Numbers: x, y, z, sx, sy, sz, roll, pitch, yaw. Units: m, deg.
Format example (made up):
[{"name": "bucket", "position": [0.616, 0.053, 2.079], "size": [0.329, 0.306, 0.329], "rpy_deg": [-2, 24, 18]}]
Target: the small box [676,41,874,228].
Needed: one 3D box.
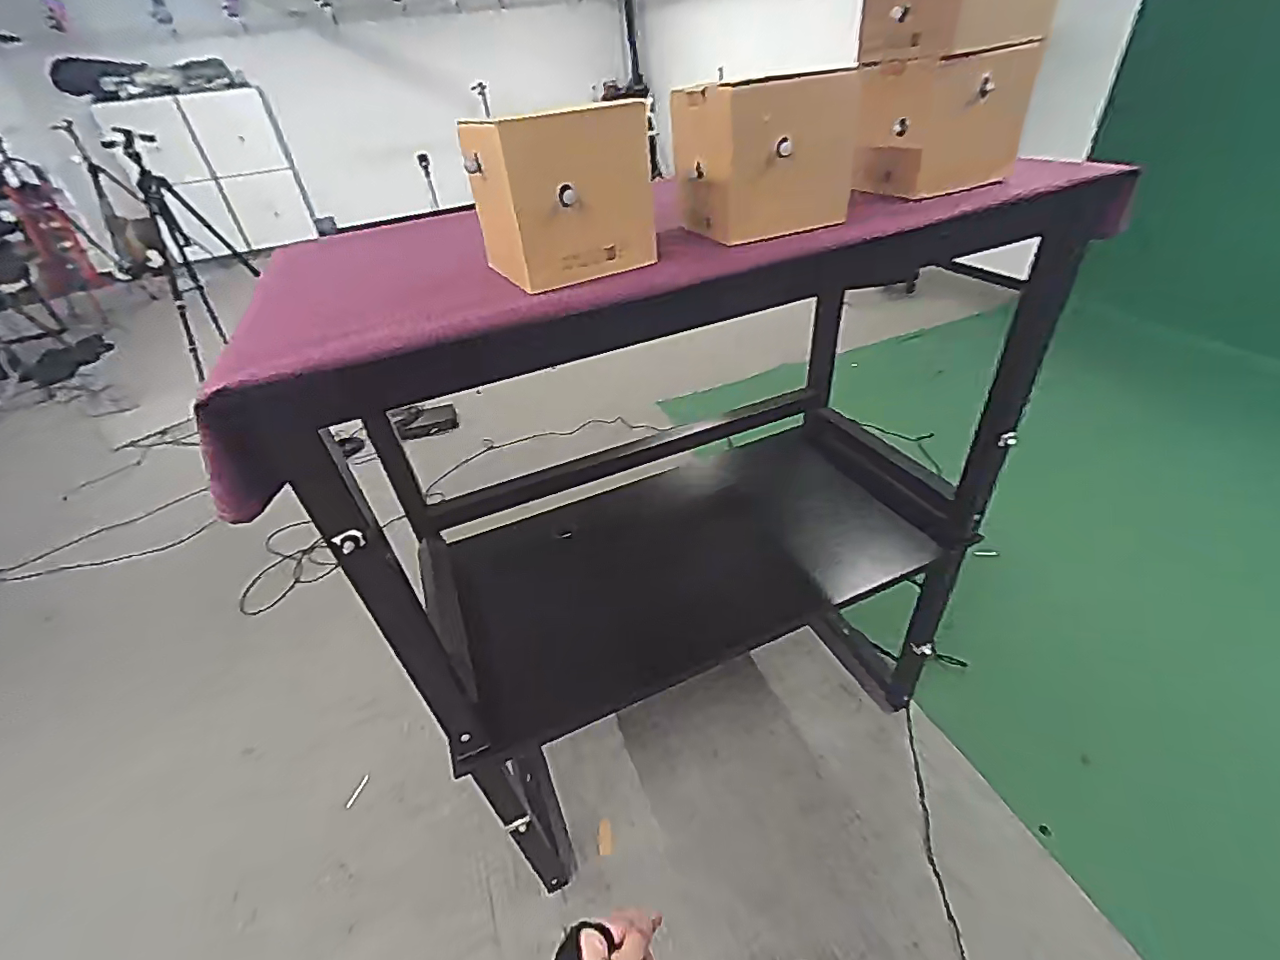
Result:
[{"name": "small box", "position": [0.160, -0.430, 0.680], "size": [0.179, 0.176, 0.168], "rpy_deg": [-17, 40, -12]}]

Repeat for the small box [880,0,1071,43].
[{"name": "small box", "position": [0.426, -0.652, 0.664], "size": [0.179, 0.176, 0.168], "rpy_deg": [-21, 40, -15]}]

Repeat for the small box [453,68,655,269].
[{"name": "small box", "position": [-0.093, -0.353, 0.618], "size": [0.168, 0.176, 0.179], "rpy_deg": [-21, 40, -18]}]

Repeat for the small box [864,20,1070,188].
[{"name": "small box", "position": [0.441, -0.526, 0.766], "size": [0.179, 0.176, 0.168], "rpy_deg": [-15, 39, -11]}]
